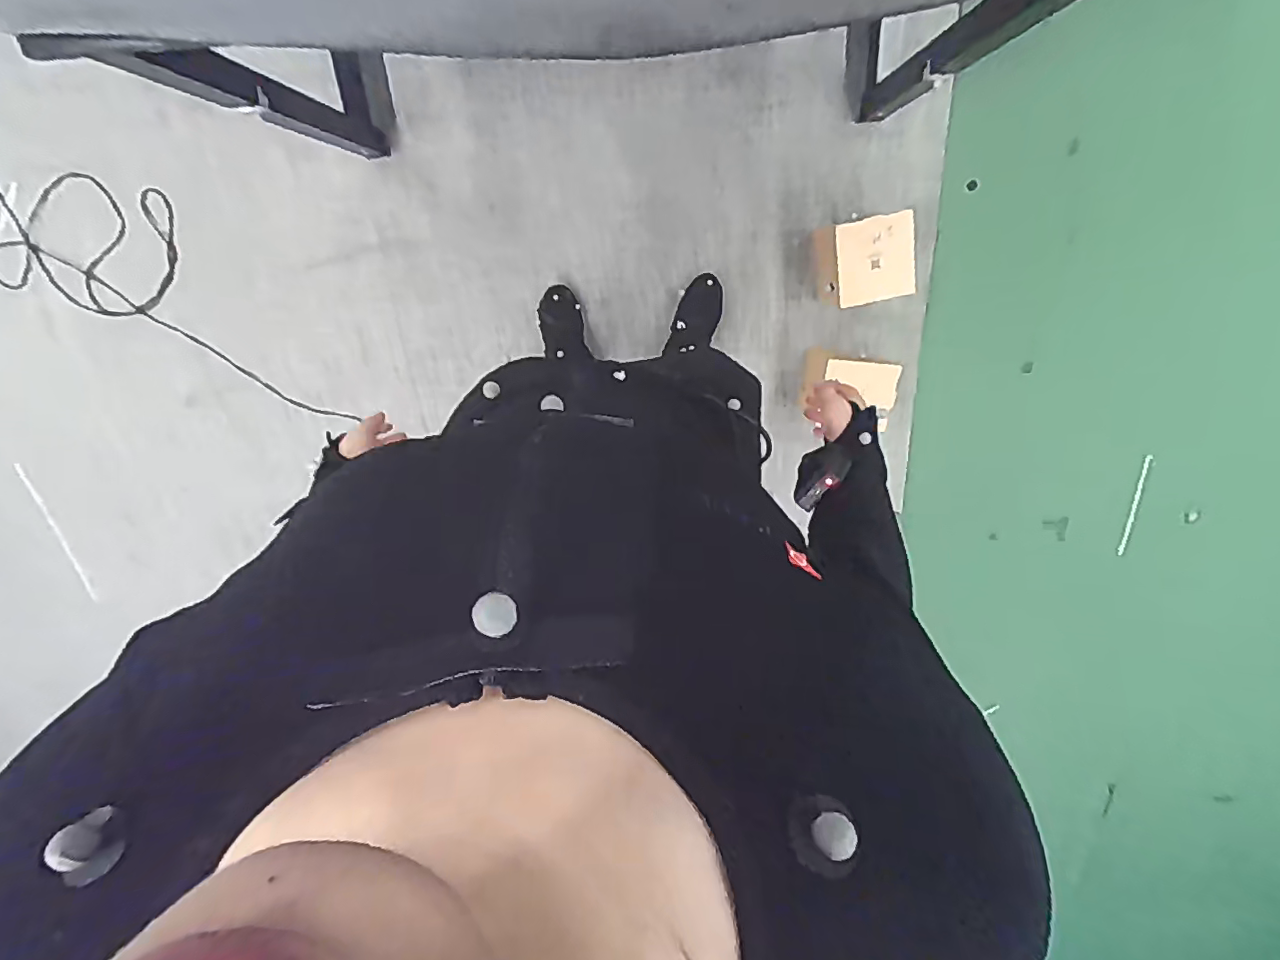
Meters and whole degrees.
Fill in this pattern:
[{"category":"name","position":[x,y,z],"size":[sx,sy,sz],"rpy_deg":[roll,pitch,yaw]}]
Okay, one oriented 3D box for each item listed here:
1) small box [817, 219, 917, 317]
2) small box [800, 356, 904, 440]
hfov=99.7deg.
[{"category":"small box","position":[0.515,-0.484,1.239],"size":[0.168,0.176,0.179],"rpy_deg":[-11,111,5]},{"category":"small box","position":[0.519,-0.209,1.348],"size":[0.179,0.176,0.168],"rpy_deg":[6,112,-1]}]
